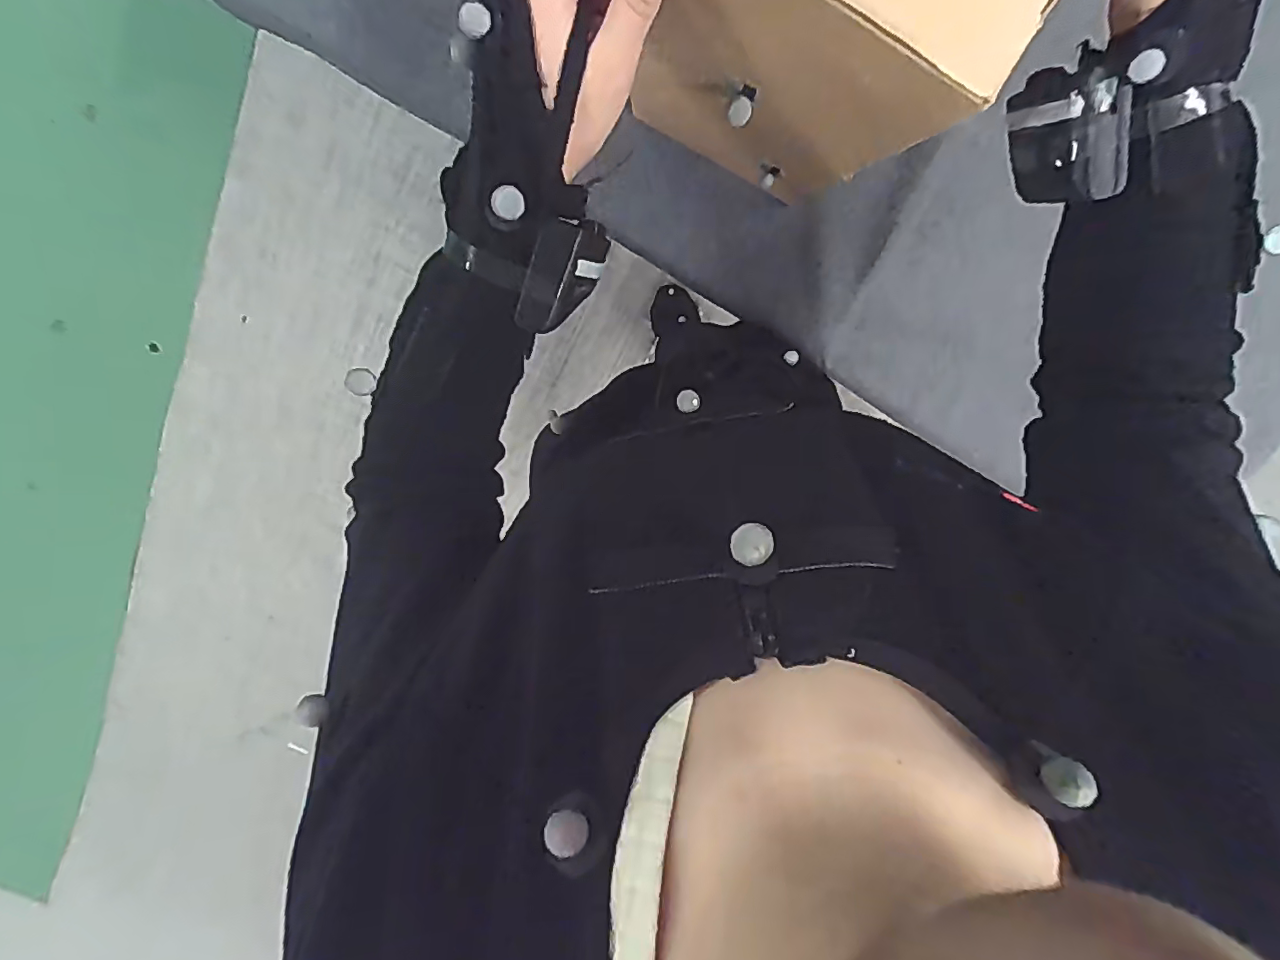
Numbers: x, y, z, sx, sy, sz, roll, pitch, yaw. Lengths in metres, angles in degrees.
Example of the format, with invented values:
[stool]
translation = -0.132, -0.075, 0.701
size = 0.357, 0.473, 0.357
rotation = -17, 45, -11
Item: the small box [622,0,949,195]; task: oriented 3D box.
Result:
[small box]
translation = 0.102, -0.338, 0.406
size = 0.179, 0.176, 0.168
rotation = 25, 109, -8
